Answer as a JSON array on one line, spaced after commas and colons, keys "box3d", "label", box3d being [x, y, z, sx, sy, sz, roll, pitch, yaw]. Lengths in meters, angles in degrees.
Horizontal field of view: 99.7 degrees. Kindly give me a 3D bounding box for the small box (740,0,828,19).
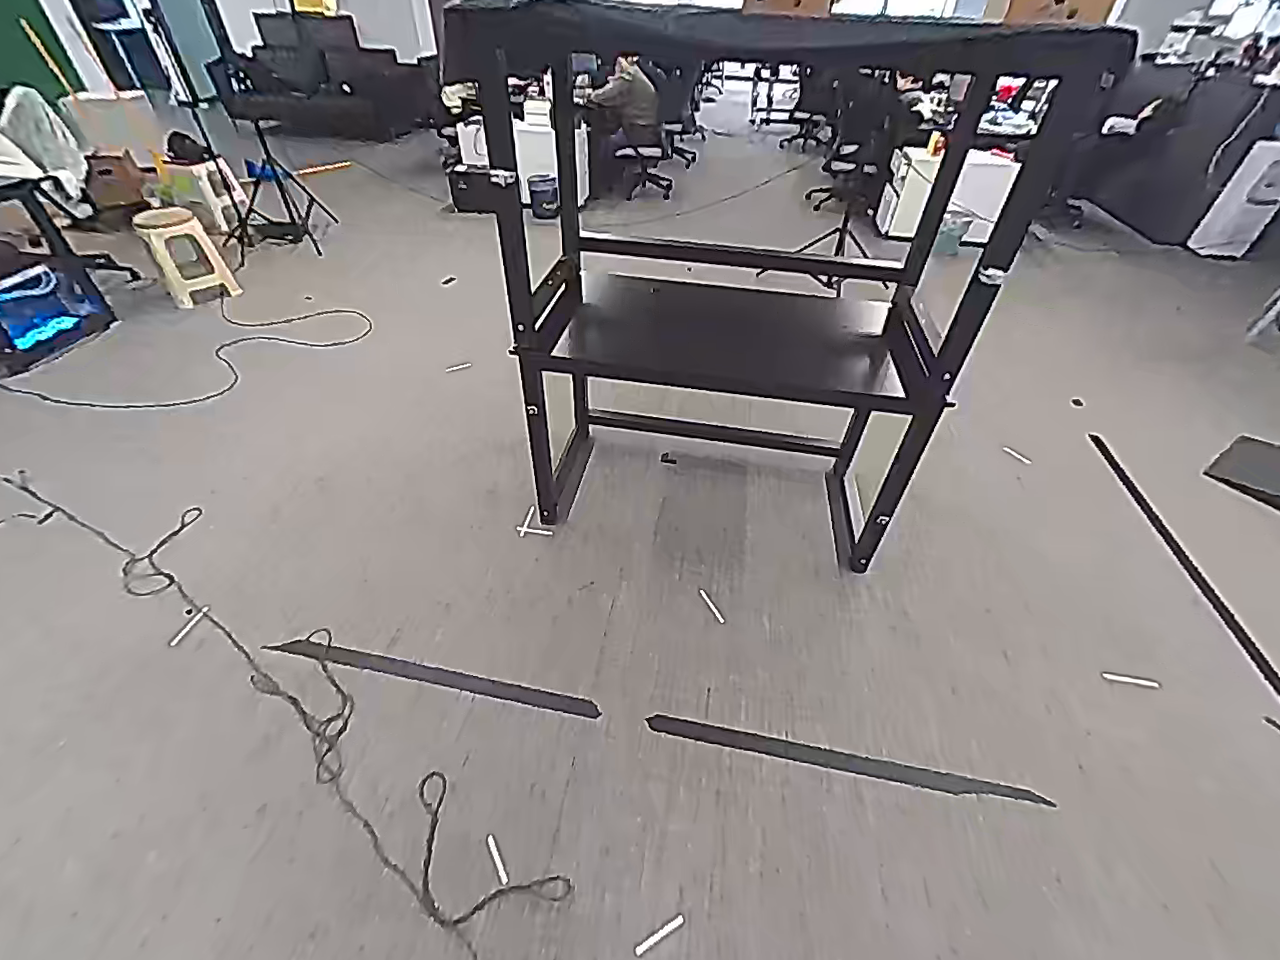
[{"box3d": [0.289, -1.007, 1.047, 0.168, 0.176, 0.179, 7, 40, 6], "label": "small box"}]
